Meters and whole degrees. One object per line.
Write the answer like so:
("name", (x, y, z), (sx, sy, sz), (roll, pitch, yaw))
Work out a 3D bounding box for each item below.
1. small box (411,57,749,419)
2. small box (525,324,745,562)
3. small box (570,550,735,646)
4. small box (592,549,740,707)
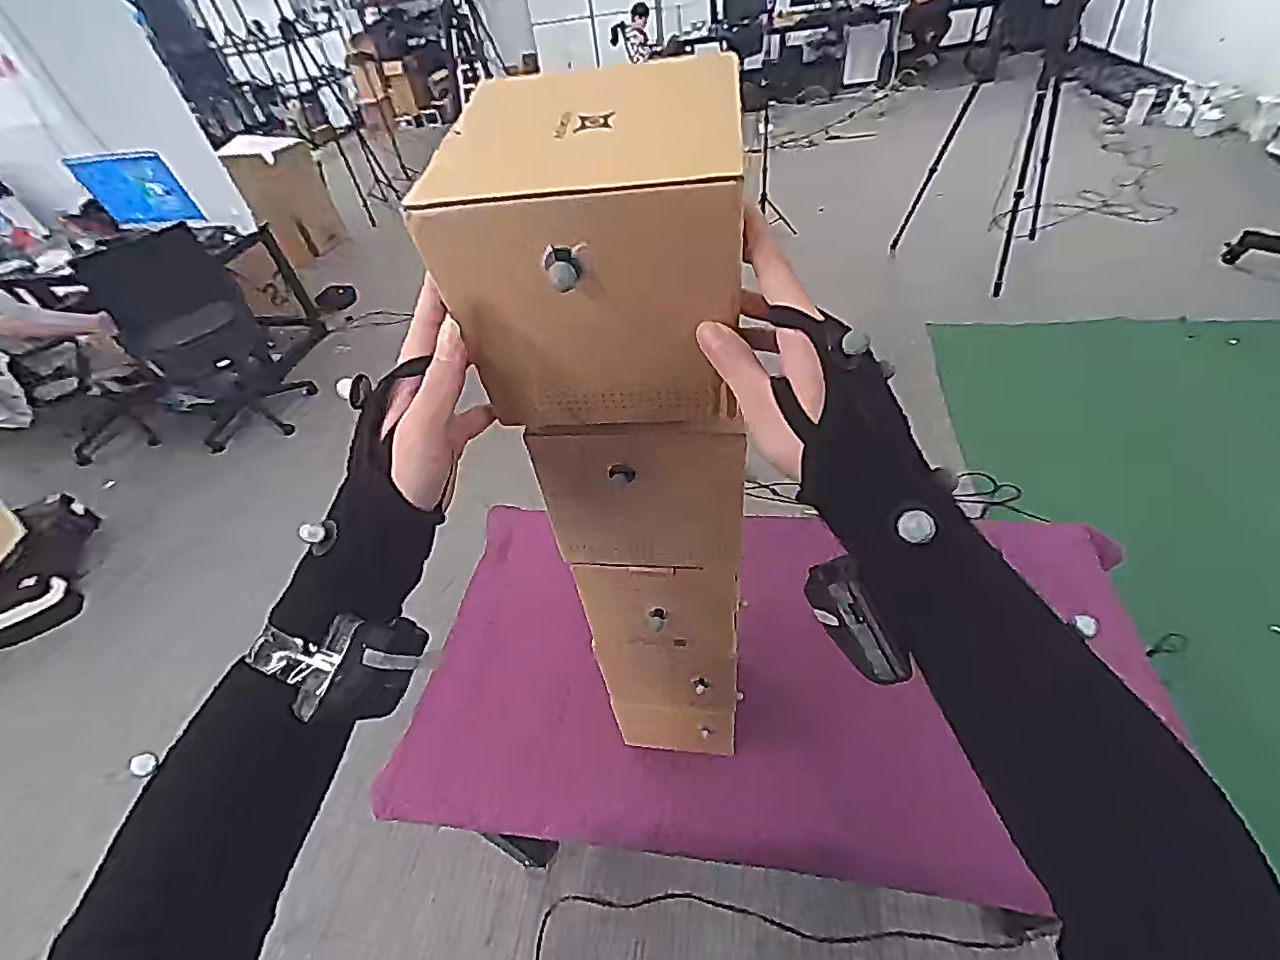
("small box", (-0.017, -0.157, 0.379), (0.179, 0.176, 0.168), (-1, 53, 10))
("small box", (0.011, -0.035, 0.526), (0.179, 0.176, 0.168), (1, 45, 9))
("small box", (0.029, 0.079, 0.643), (0.168, 0.176, 0.179), (1, 45, 9))
("small box", (0.047, 0.199, 0.752), (0.179, 0.176, 0.168), (1, 45, 11))
